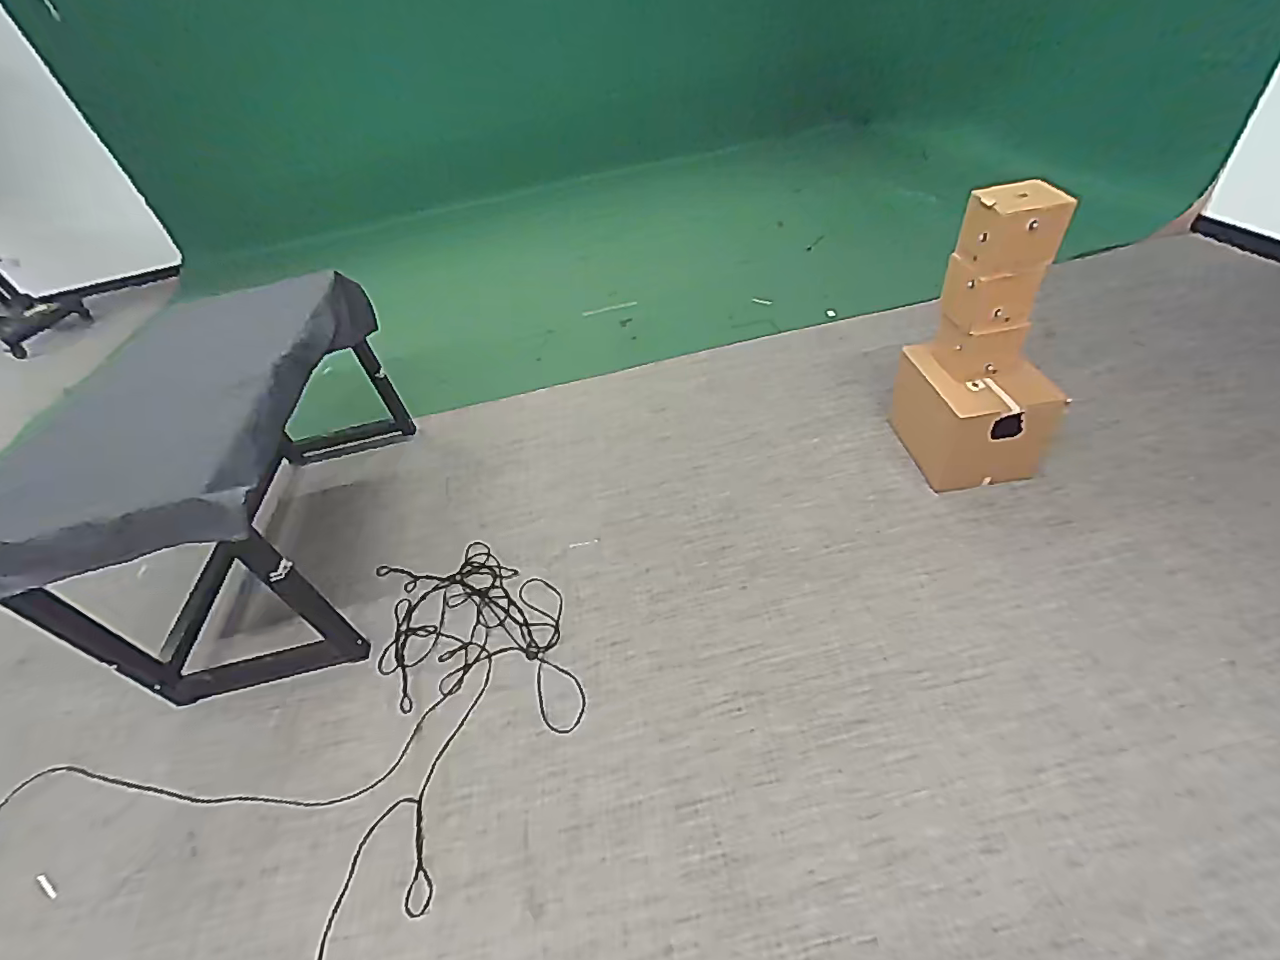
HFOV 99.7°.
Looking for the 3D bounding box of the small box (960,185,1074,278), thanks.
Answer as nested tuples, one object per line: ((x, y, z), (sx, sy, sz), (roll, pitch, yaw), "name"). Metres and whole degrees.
((0.976, -0.650, 1.426), (0.179, 0.176, 0.168), (-8, 46, 2), "small box")

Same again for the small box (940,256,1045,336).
((0.989, -0.533, 1.539), (0.168, 0.176, 0.179), (-11, 44, 1), "small box")

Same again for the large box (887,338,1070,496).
((1.071, -0.211, 1.780), (0.320, 0.320, 0.408), (-10, 45, 3), "large box")
